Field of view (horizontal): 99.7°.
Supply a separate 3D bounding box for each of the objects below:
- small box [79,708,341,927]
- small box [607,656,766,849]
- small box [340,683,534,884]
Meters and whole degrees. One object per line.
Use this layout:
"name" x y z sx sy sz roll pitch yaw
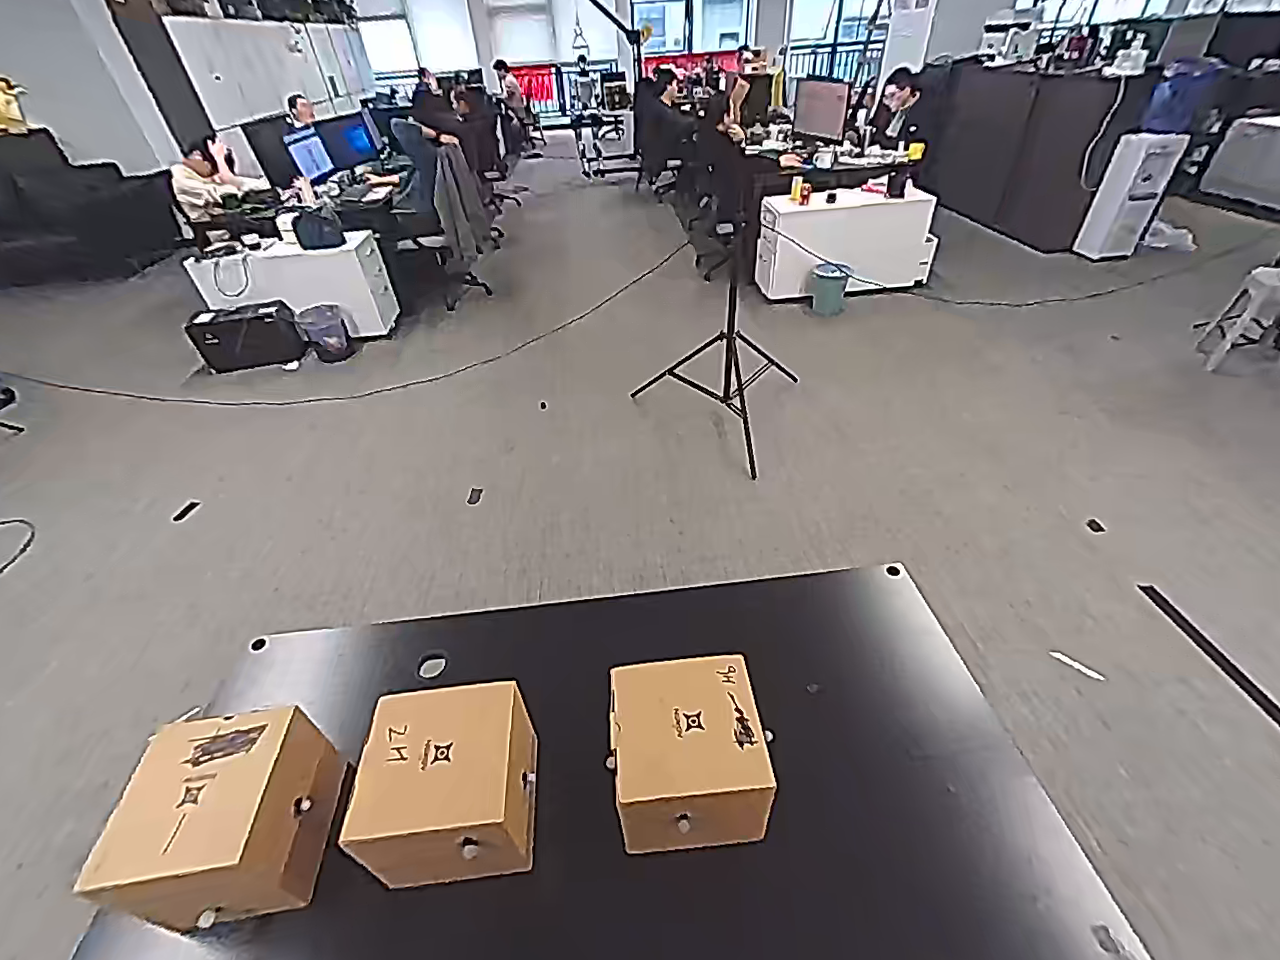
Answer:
"small box" -0.501 0.416 0.671 0.168 0.176 0.179 -7 41 -4
"small box" 0.055 0.353 0.700 0.179 0.176 0.168 -6 40 -1
"small box" -0.236 0.384 0.686 0.179 0.176 0.168 -7 40 -2
